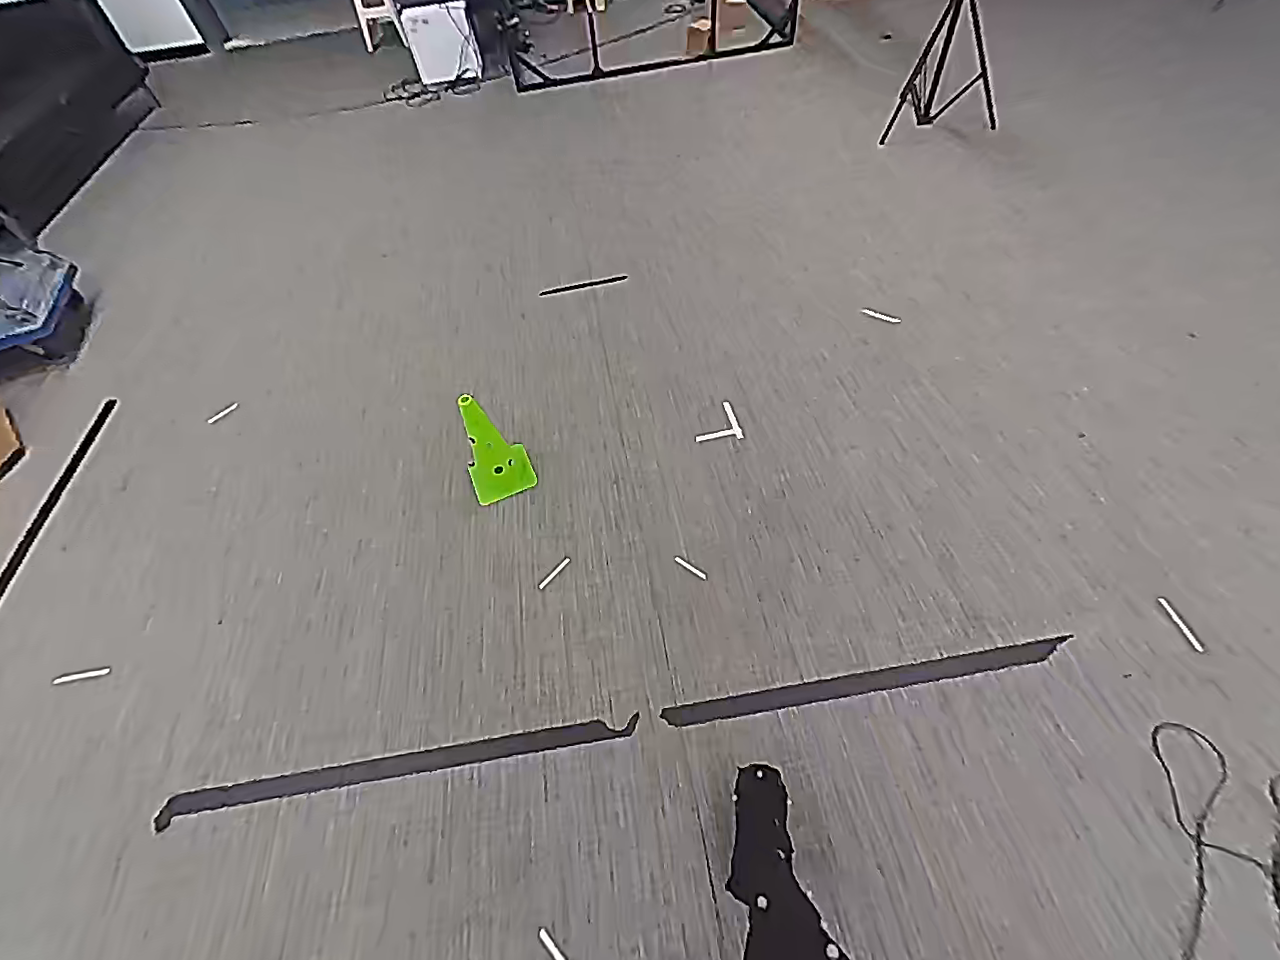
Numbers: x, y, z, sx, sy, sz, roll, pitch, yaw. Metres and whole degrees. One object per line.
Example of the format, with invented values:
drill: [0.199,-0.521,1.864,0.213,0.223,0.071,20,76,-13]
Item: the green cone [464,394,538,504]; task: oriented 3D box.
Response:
green cone: [-0.472,-0.120,1.675,0.202,0.368,0.200,-23,55,-11]
